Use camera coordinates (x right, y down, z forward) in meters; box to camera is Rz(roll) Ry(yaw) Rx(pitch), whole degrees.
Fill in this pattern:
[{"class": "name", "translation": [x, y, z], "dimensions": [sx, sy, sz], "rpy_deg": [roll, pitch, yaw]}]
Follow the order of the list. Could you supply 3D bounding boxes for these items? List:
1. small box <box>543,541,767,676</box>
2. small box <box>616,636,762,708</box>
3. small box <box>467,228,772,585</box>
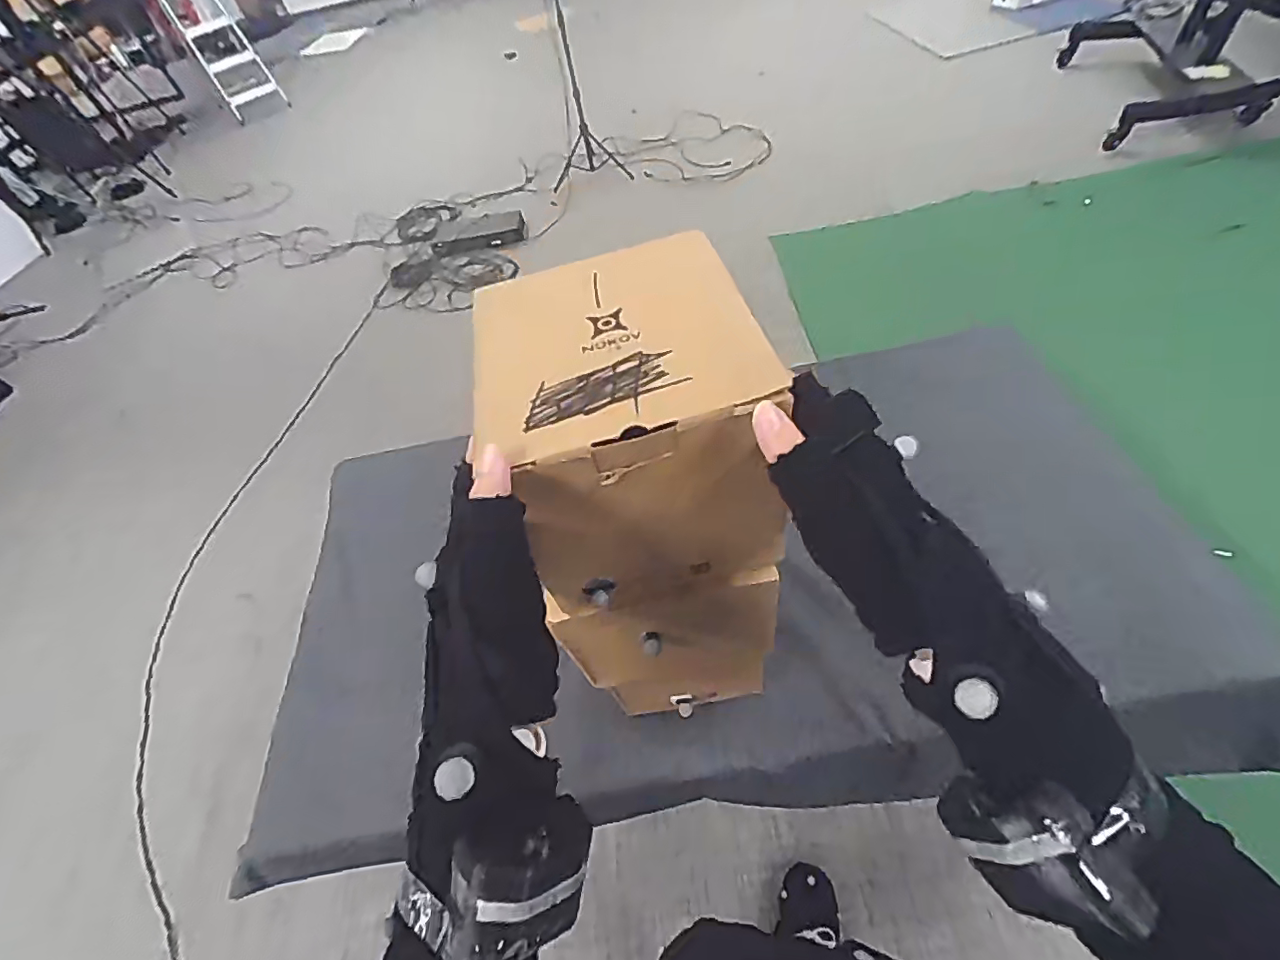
[{"class": "small box", "translation": [0.015, 0.067, 0.513], "dimensions": [0.179, 0.176, 0.168], "rpy_deg": [-13, 50, 2]}, {"class": "small box", "translation": [0.042, 0.151, 0.649], "dimensions": [0.168, 0.176, 0.179], "rpy_deg": [-14, 53, 3]}, {"class": "small box", "translation": [-0.010, -0.042, 0.387], "dimensions": [0.168, 0.176, 0.179], "rpy_deg": [-15, 51, 1]}]
